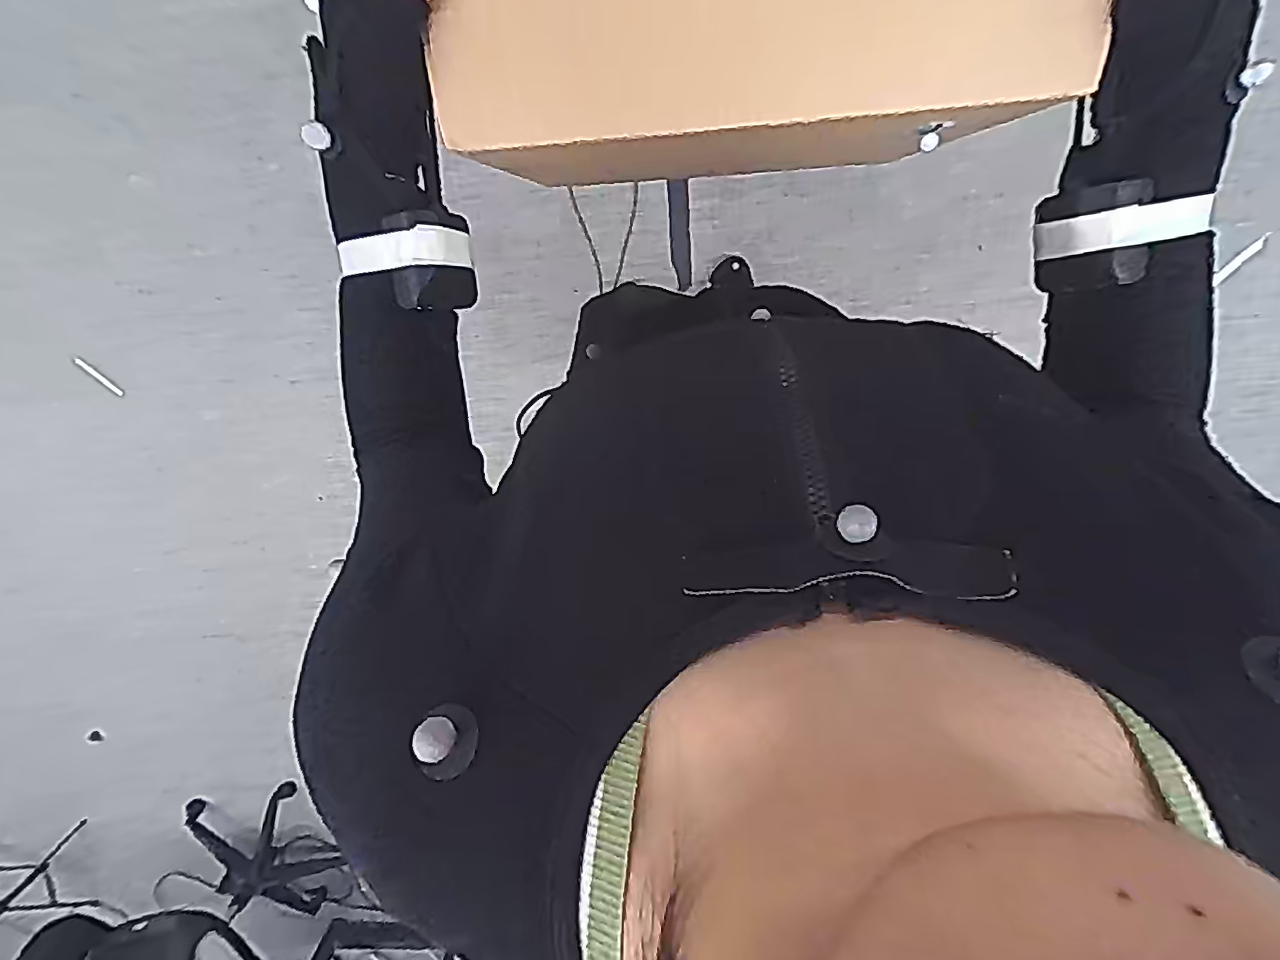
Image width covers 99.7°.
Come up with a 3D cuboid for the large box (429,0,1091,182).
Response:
[{"bbox_3d":[0.070,-0.431,0.423,0.408,0.320,0.320,-2,114,4],"label":"large box"}]
